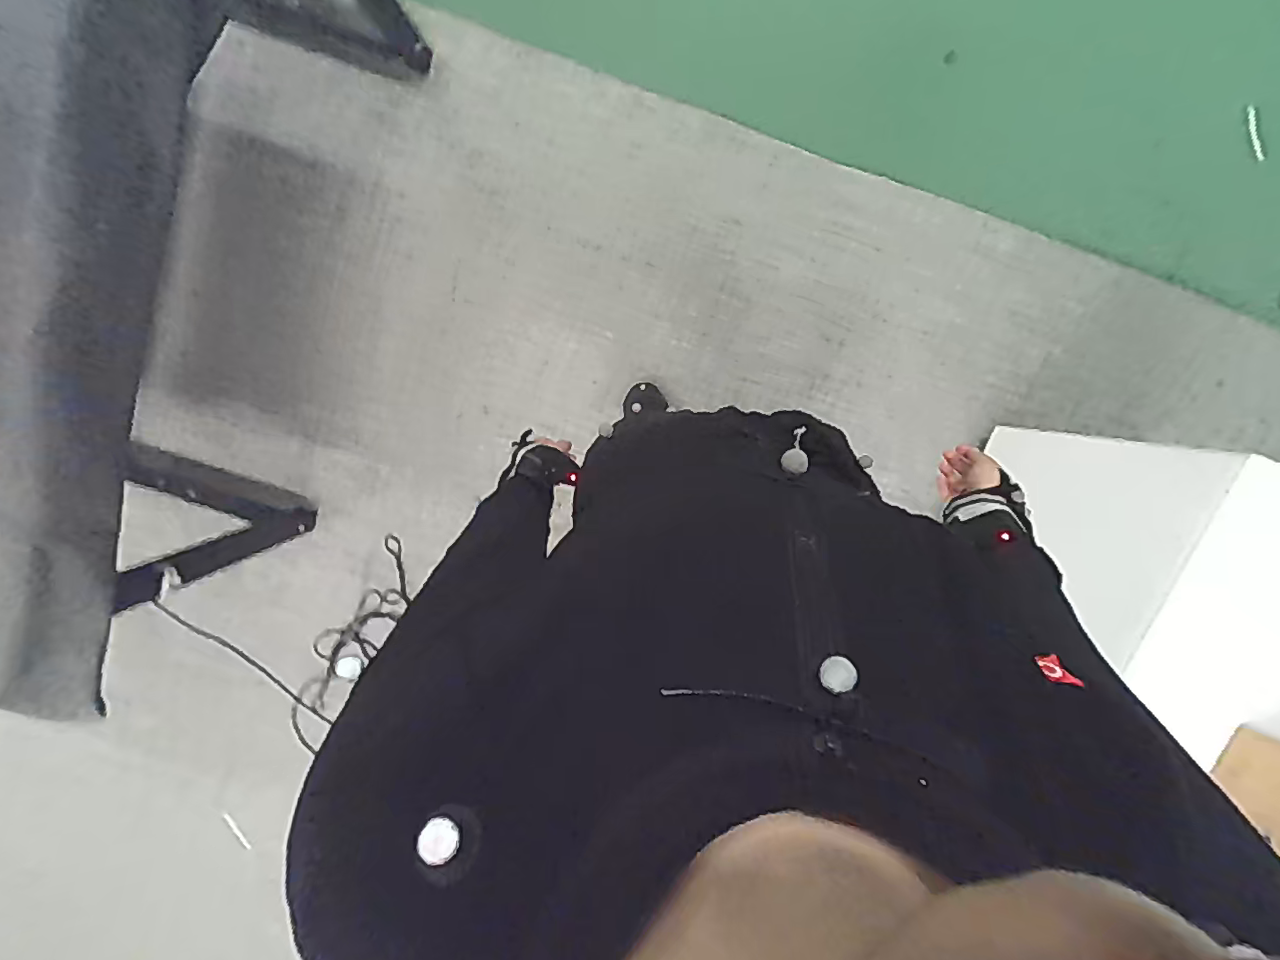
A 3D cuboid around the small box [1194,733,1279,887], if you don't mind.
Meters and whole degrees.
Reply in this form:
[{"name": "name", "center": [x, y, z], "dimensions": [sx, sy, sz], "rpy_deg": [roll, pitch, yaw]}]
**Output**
[{"name": "small box", "center": [0.927, 0.475, 0.724], "dimensions": [0.179, 0.176, 0.168], "rpy_deg": [20, 100, -3]}]
